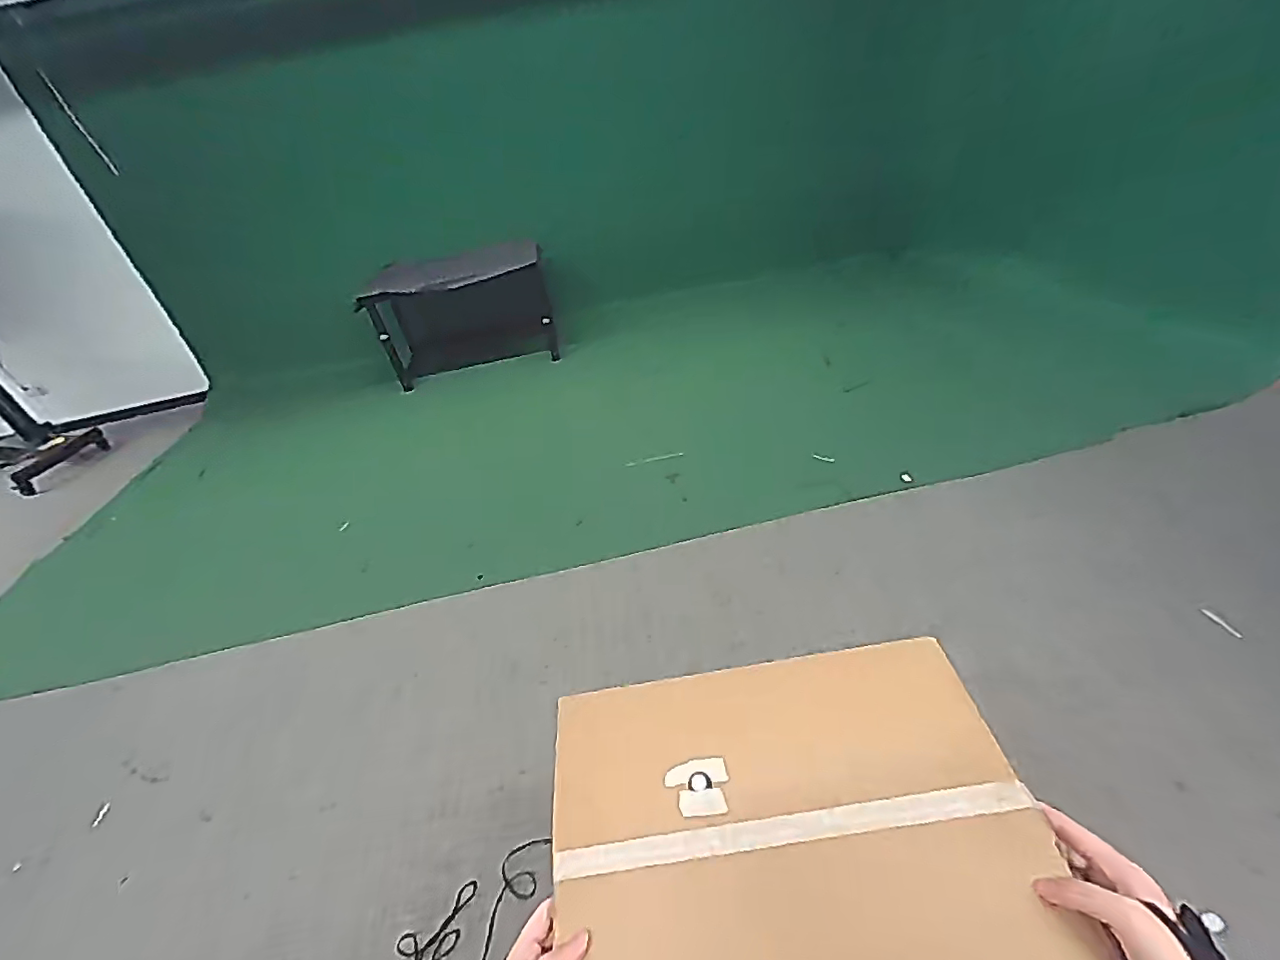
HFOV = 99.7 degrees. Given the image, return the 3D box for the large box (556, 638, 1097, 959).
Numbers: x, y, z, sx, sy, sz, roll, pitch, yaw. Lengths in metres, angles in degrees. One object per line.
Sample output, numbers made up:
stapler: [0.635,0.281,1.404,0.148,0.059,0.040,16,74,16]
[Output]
large box: [0.150,0.415,0.573,0.408,0.320,0.320,-12,41,4]
